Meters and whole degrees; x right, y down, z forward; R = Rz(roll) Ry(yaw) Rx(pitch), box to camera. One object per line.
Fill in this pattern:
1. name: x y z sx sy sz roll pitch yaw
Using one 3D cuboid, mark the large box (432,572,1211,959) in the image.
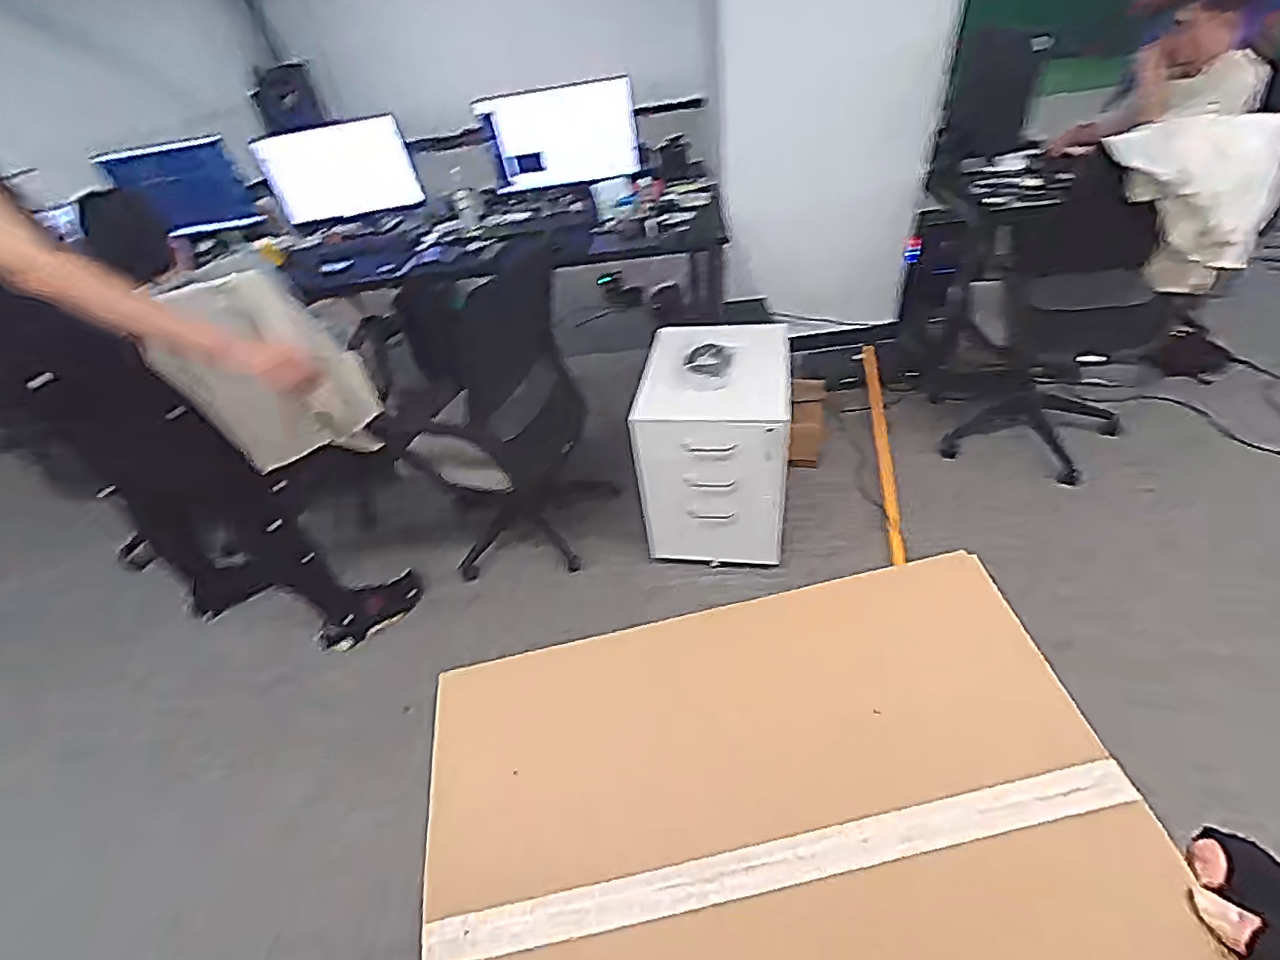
1. large box: 0.097 0.322 0.423 0.408 0.320 0.320 -14 49 0
